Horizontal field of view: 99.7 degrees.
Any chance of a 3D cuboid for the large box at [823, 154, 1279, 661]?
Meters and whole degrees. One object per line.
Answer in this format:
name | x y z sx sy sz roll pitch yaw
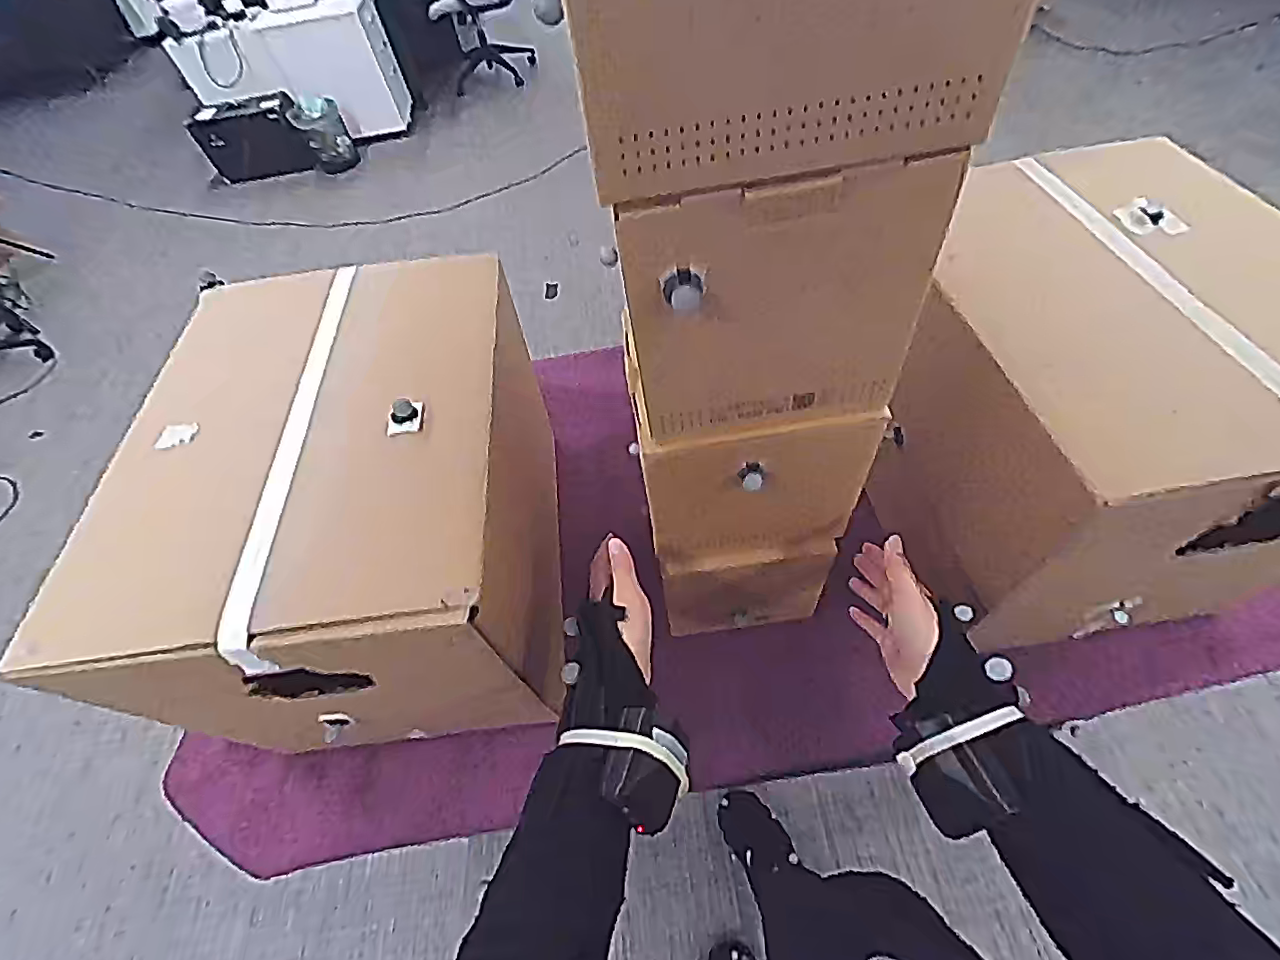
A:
large box | 0.426 -0.073 0.575 0.320 0.320 0.408 -9 53 1
